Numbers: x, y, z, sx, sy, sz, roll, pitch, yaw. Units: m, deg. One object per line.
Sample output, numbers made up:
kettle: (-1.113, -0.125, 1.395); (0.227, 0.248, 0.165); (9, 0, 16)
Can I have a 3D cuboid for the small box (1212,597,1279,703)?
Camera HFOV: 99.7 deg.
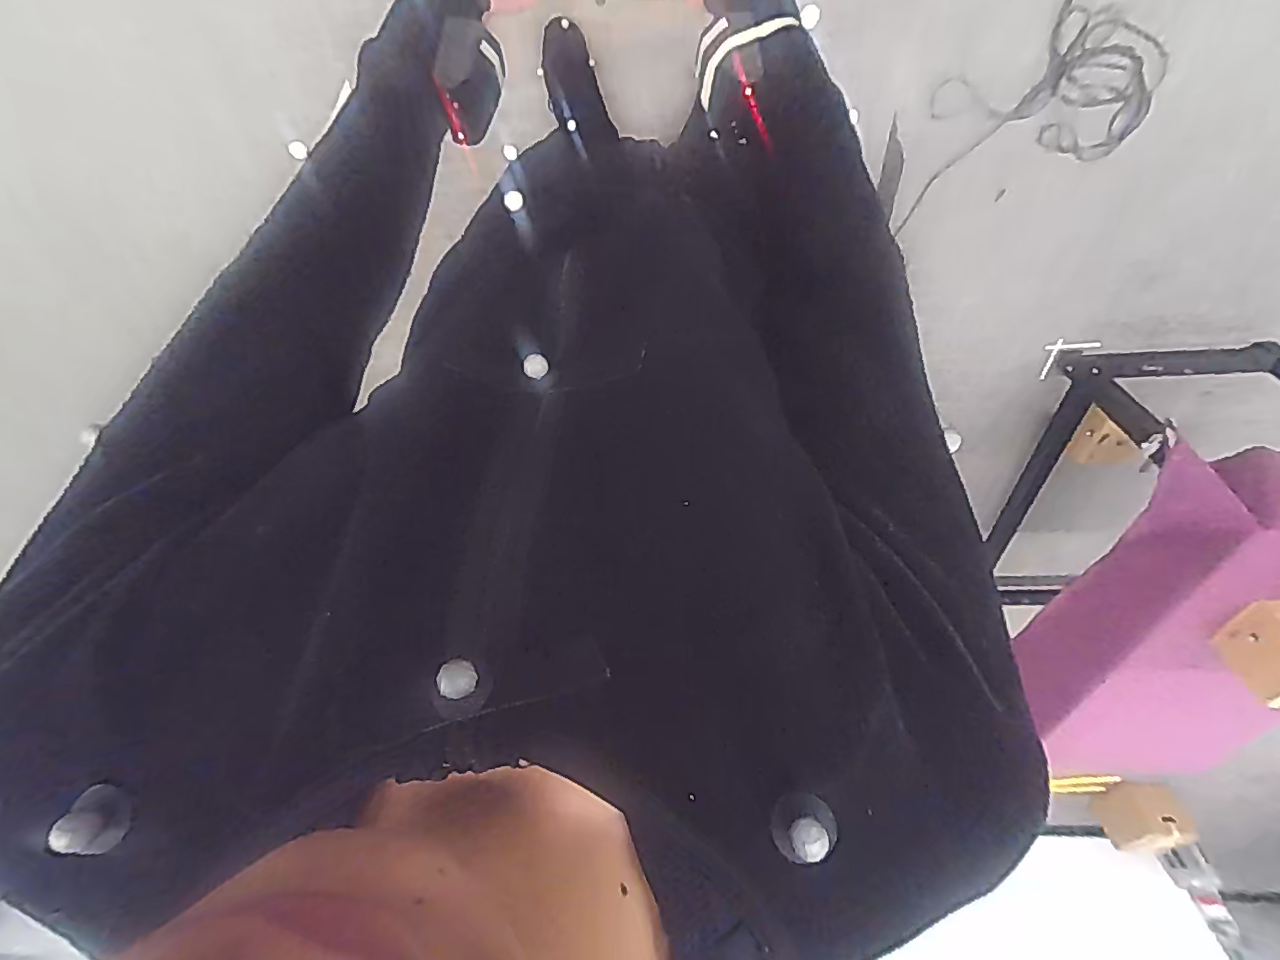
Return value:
small box: (1.442, 0.370, 1.178); (0.179, 0.176, 0.168); (-1, 133, 5)
